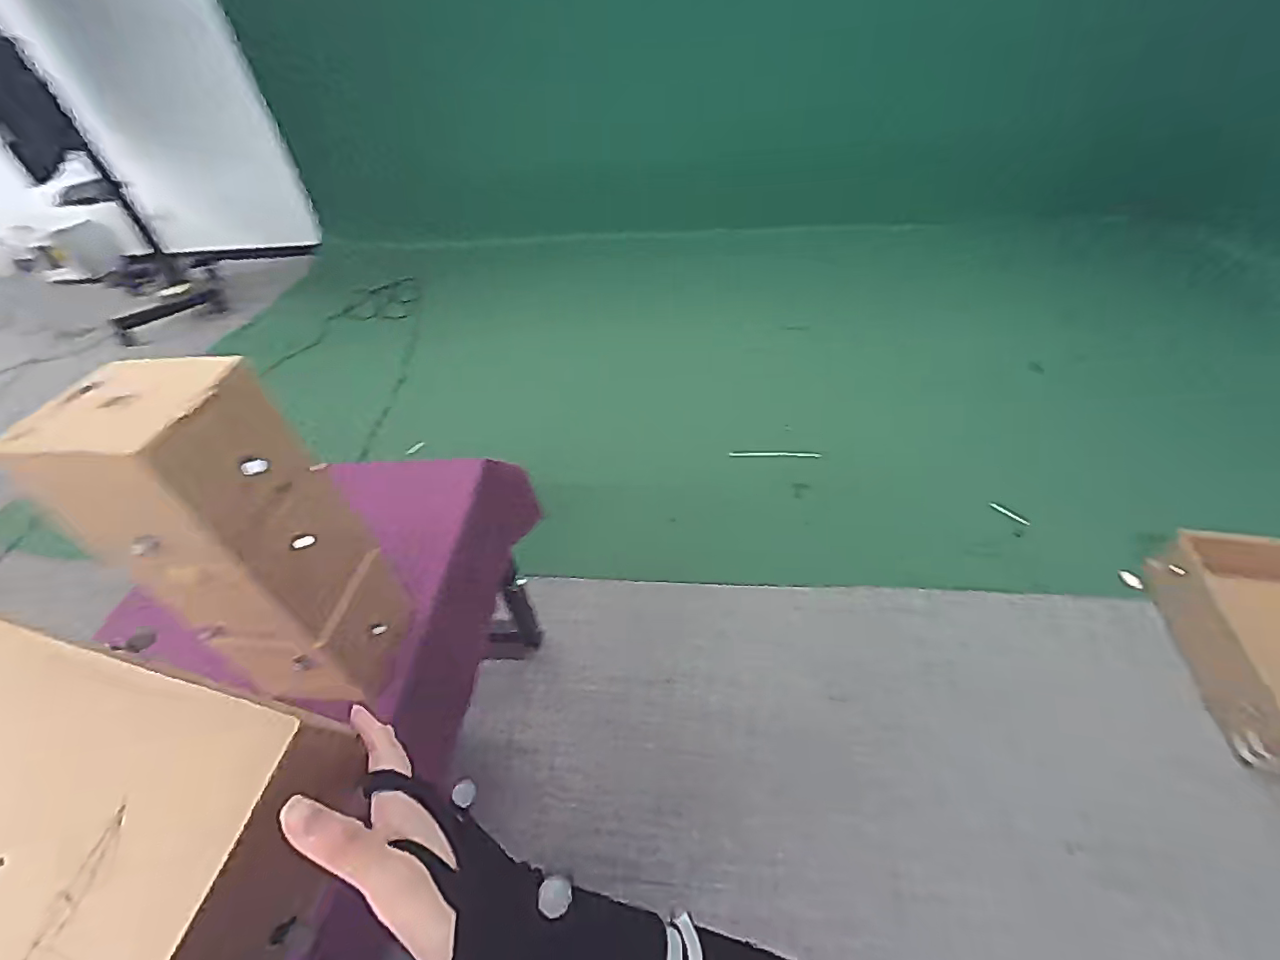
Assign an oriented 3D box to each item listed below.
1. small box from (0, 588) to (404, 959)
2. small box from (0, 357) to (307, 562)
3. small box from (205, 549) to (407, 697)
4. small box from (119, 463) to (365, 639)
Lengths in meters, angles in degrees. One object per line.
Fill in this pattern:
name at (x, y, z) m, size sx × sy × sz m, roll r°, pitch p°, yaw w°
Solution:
small box at (-0.250, 0.178, 0.269) m, size 0.179 × 0.176 × 0.168 m, roll 20°, pitch 61°, yaw -1°
small box at (-0.526, -0.021, 0.611) m, size 0.179 × 0.176 × 0.168 m, roll 2°, pitch 44°, yaw 6°
small box at (-0.492, 0.219, 0.834) m, size 0.179 × 0.176 × 0.168 m, roll 1°, pitch 44°, yaw 7°
small box at (-0.506, 0.095, 0.726) m, size 0.168 × 0.176 × 0.179 m, roll 1°, pitch 43°, yaw 7°
